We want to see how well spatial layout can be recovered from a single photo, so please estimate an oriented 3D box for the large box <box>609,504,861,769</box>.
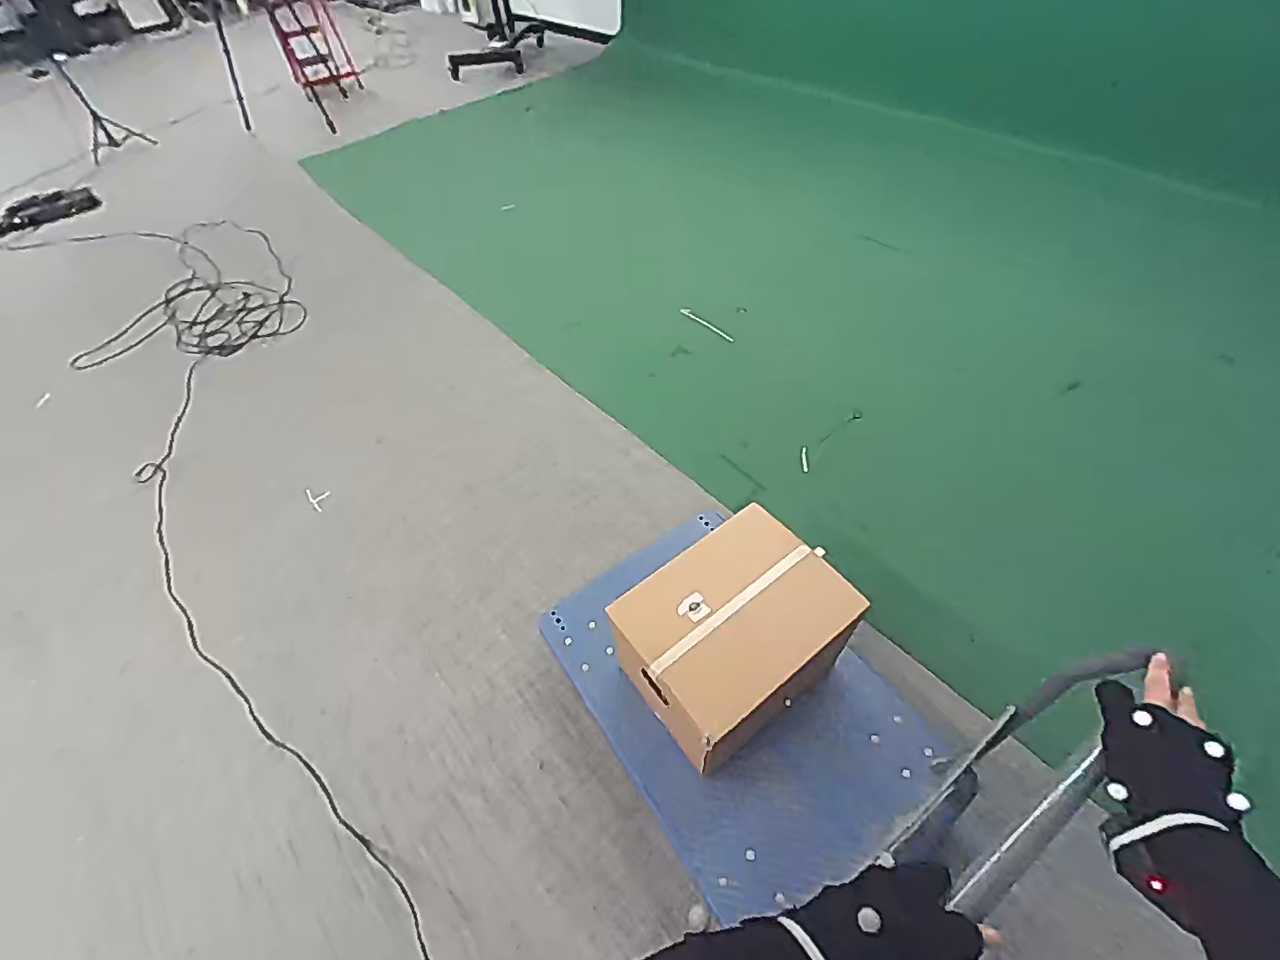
[{"bbox_3d":[0.193,0.334,1.167,0.408,0.320,0.320,-34,57,-19],"label":"large box"}]
